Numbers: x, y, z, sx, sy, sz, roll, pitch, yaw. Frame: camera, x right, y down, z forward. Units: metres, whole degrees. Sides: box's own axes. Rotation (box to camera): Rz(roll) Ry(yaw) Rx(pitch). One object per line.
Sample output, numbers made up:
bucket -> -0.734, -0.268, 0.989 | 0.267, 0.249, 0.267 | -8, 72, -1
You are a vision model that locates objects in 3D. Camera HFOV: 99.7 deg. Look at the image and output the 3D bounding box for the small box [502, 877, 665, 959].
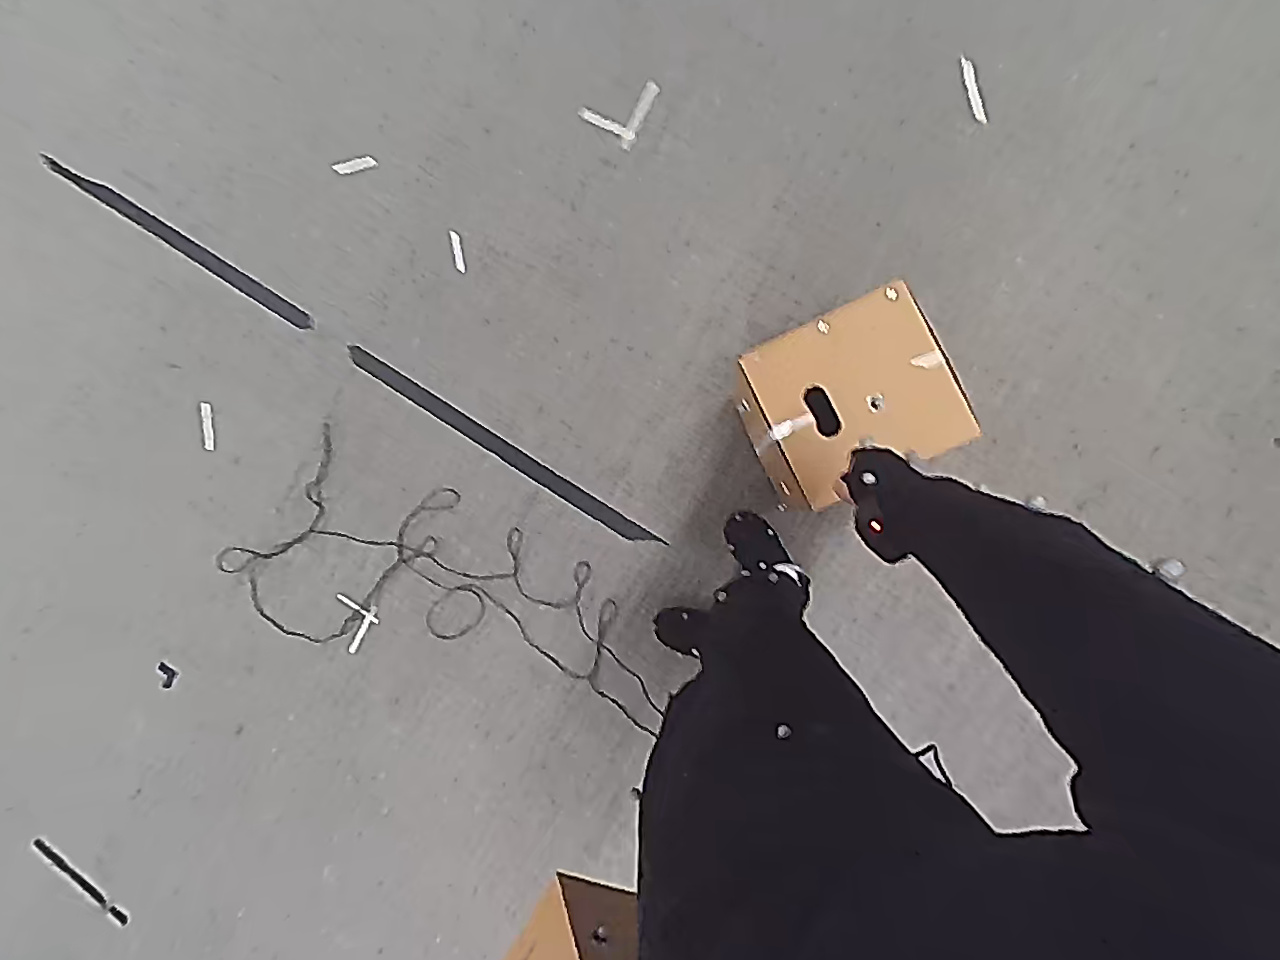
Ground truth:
small box -> -0.067, 0.669, 0.696 | 0.176, 0.179, 0.168 | 35, 86, -23
